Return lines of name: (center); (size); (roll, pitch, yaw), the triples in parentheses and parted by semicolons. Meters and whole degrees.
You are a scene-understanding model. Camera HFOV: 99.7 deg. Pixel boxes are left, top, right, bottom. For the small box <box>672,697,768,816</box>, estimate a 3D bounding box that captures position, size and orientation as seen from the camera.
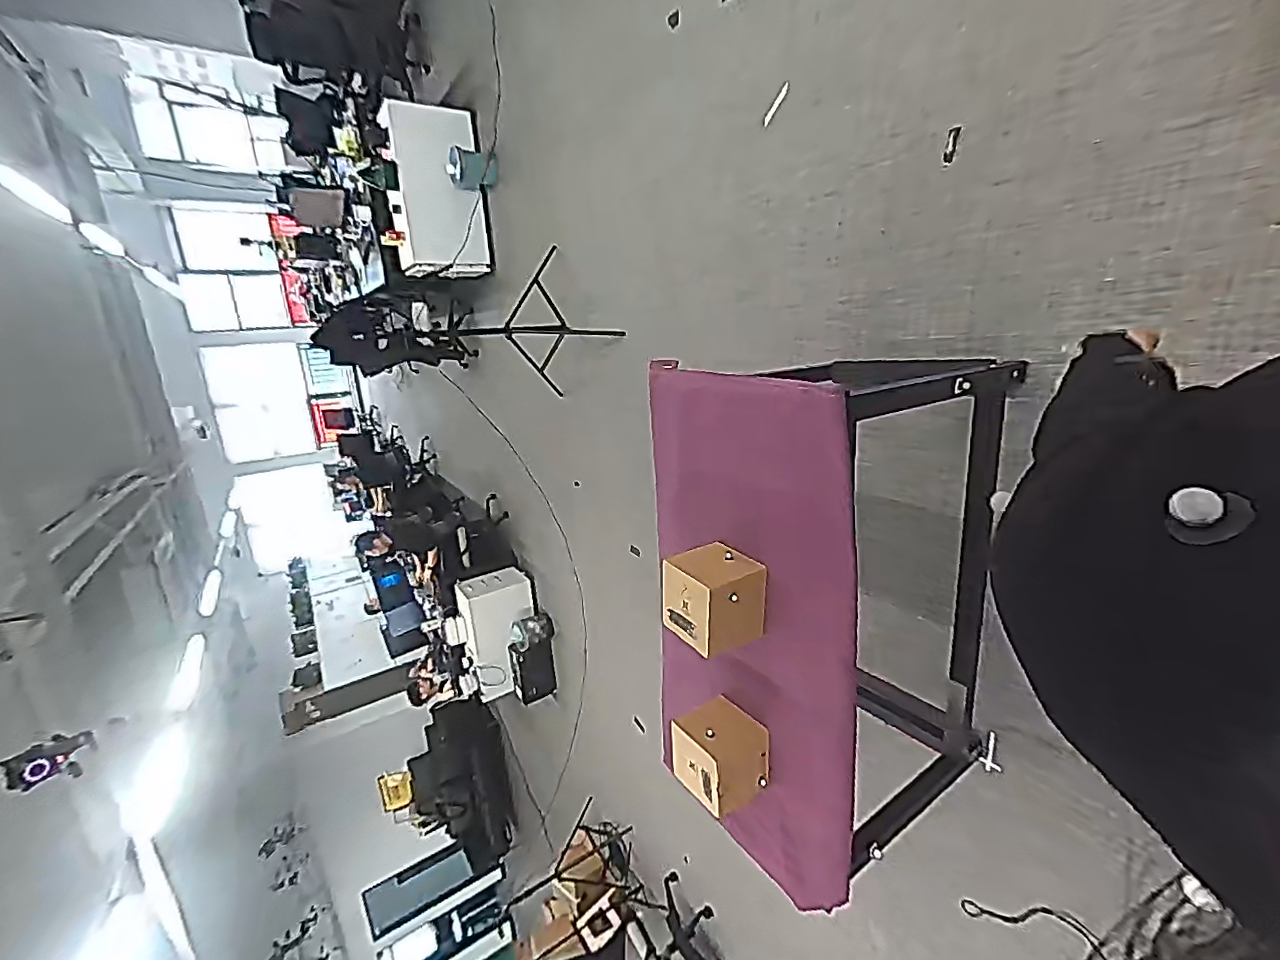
small box: (0.201, 0.673, 1.342); (0.179, 0.176, 0.168); (19, 117, 54)
